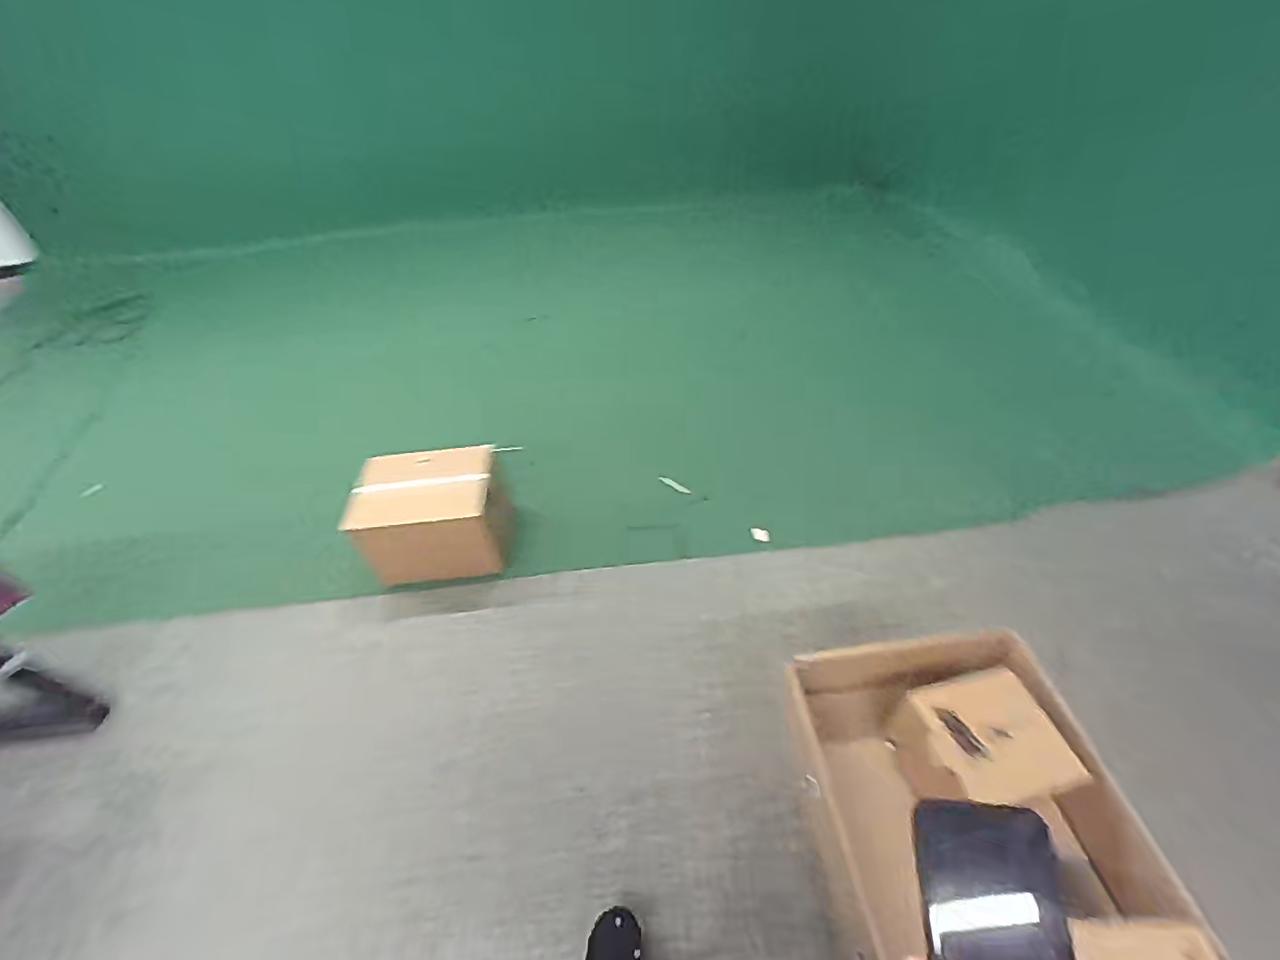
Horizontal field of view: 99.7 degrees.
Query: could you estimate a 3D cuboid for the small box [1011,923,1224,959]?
[{"bbox_3d":[0.571,0.634,0.629,0.179,0.176,0.168,-3,46,5],"label":"small box"}]
